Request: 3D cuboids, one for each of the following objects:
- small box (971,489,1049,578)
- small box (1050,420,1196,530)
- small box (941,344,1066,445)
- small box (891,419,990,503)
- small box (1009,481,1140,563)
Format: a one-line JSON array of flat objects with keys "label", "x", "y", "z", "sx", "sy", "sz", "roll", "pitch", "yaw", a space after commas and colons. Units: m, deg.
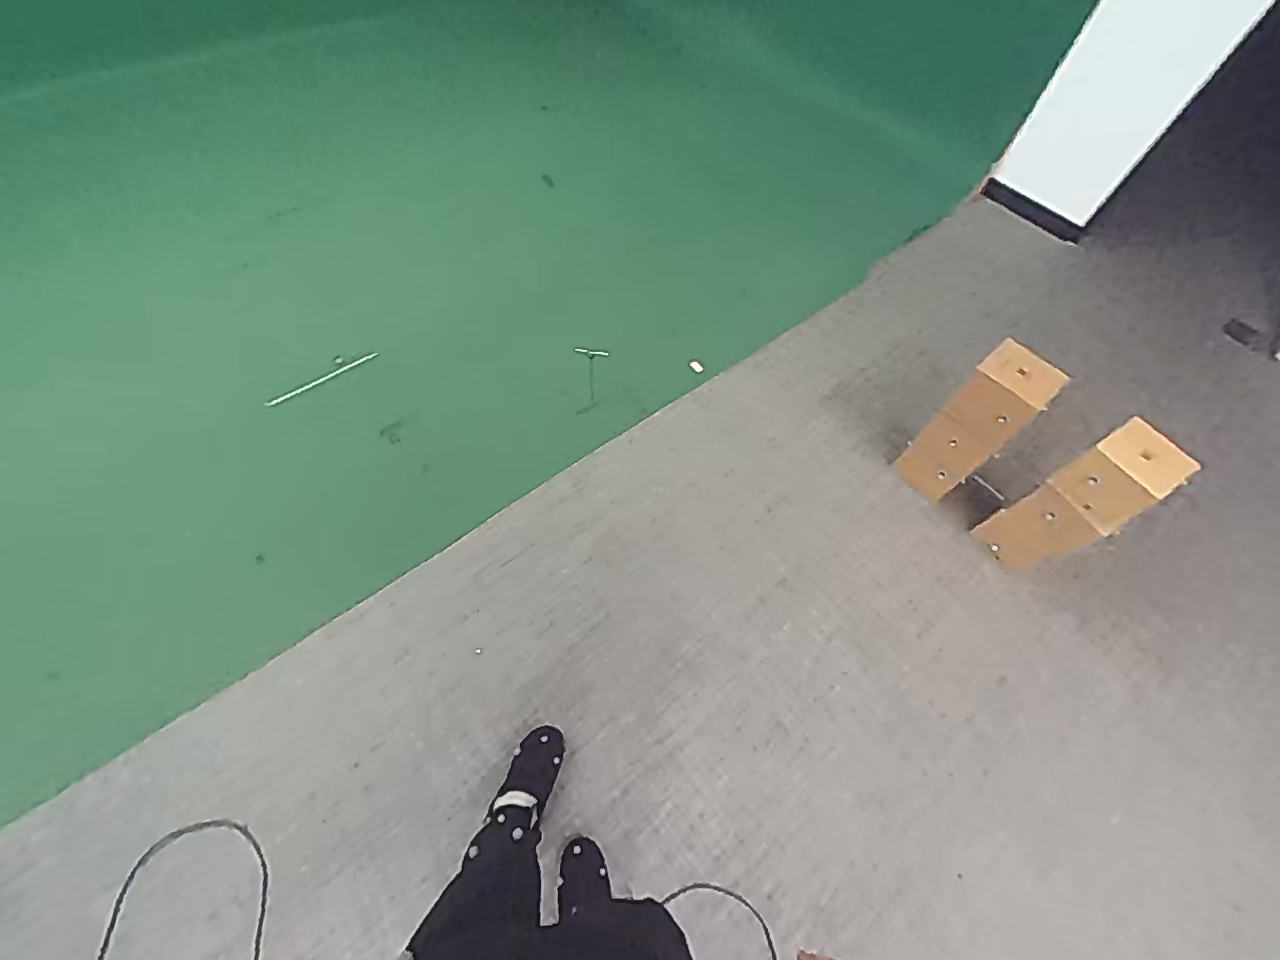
[{"label": "small box", "x": 1.125, "y": 0.159, "z": 1.584, "sx": 0.179, "sy": 0.176, "sz": 0.168, "roll": -26, "pitch": 63, "yaw": -16}, {"label": "small box", "x": 1.146, "y": -0.006, "z": 1.303, "sx": 0.179, "sy": 0.176, "sz": 0.168, "roll": -28, "pitch": 64, "yaw": -19}, {"label": "small box", "x": 0.939, "y": -0.213, "z": 1.410, "sx": 0.168, "sy": 0.176, "sz": 0.179, "roll": -35, "pitch": 66, "yaw": -22}, {"label": "small box", "x": 0.934, "y": -0.051, "z": 1.696, "sx": 0.168, "sy": 0.176, "sz": 0.179, "roll": -34, "pitch": 67, "yaw": -22}, {"label": "small box", "x": 1.140, "y": 0.088, "z": 1.436, "sx": 0.168, "sy": 0.176, "sz": 0.179, "roll": -26, "pitch": 63, "yaw": -17}]
